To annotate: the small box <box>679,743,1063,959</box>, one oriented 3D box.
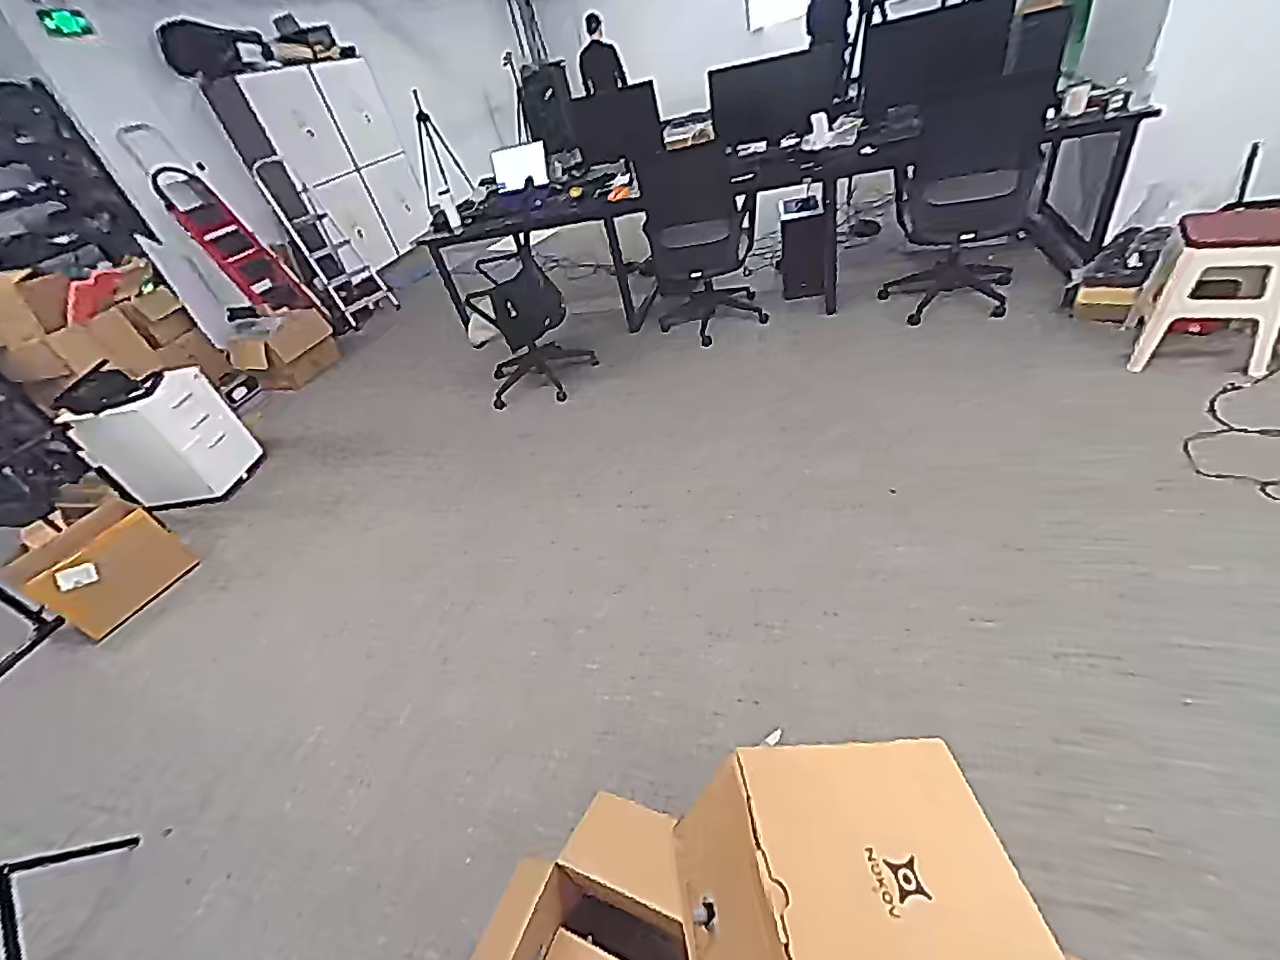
[{"bbox_3d":[0.143,0.306,0.381,0.179,0.176,0.168,5,40,-15],"label":"small box"}]
